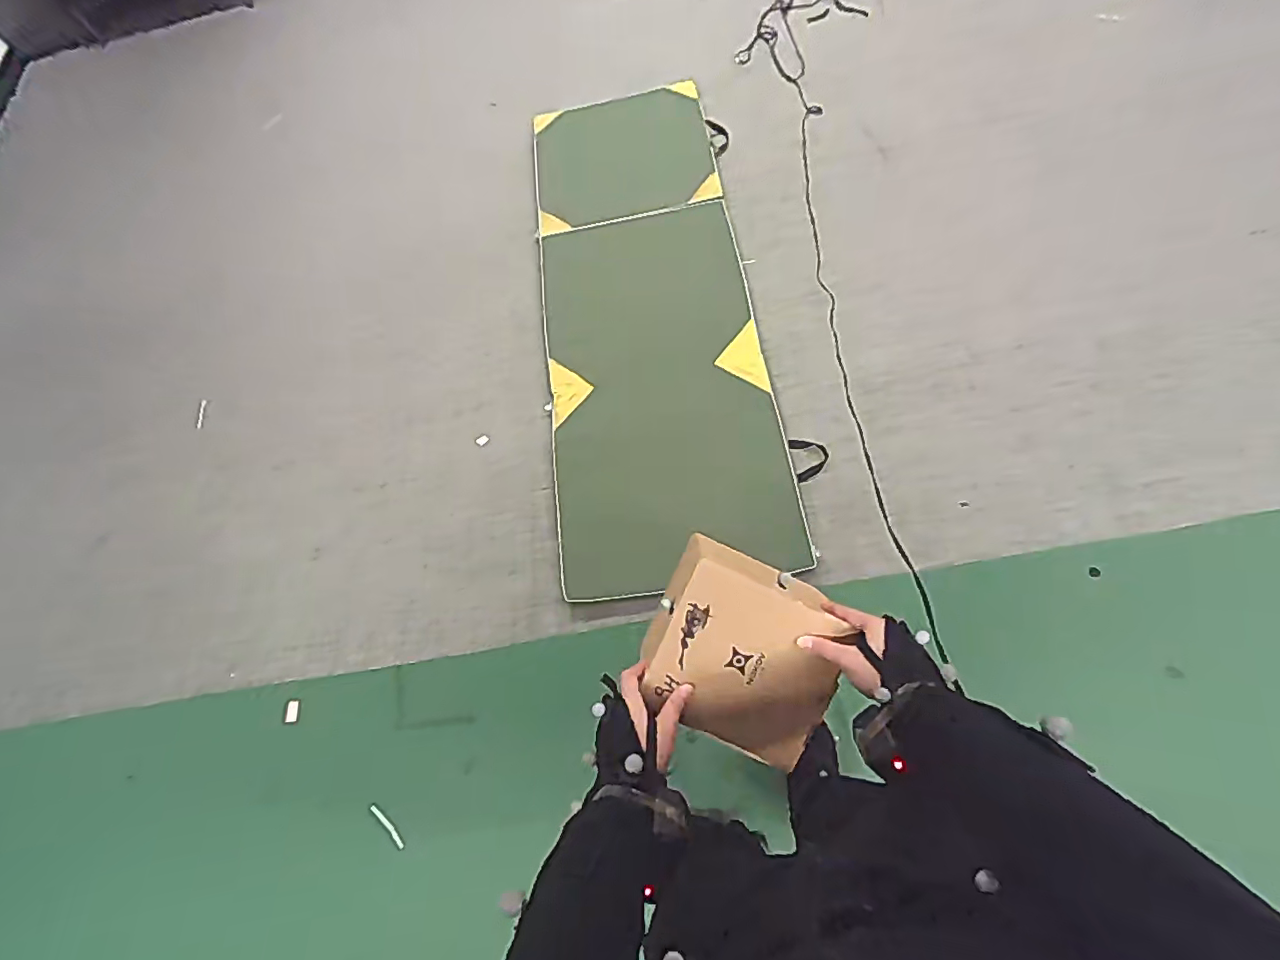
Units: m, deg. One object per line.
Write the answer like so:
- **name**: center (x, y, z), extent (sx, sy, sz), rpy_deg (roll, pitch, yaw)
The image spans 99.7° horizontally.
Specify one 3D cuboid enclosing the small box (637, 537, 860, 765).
- **small box**: center (0.111, 0.177, 0.621), extent (0.179, 0.176, 0.168), rpy_deg (25, 92, 2)
